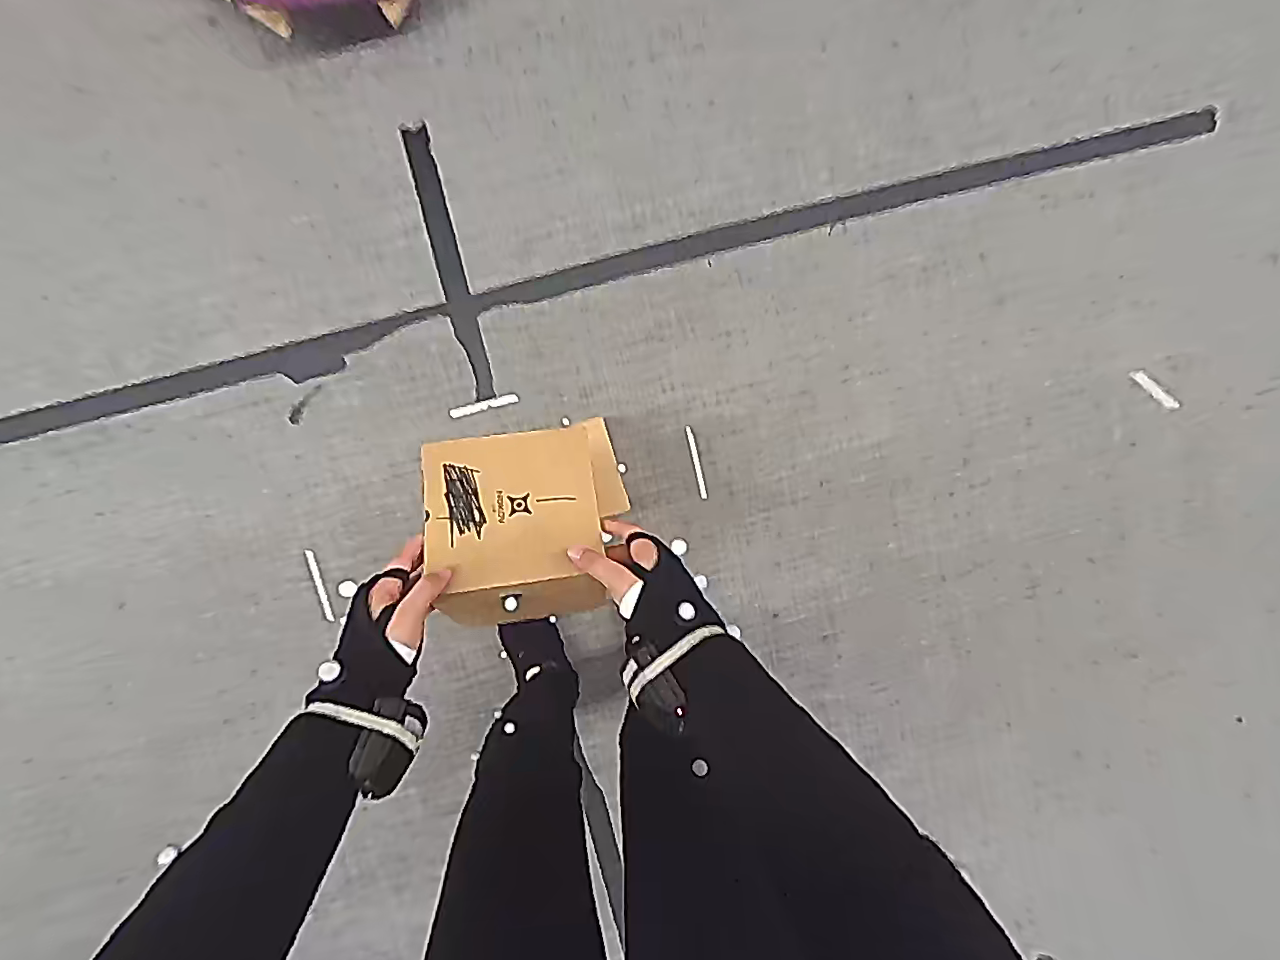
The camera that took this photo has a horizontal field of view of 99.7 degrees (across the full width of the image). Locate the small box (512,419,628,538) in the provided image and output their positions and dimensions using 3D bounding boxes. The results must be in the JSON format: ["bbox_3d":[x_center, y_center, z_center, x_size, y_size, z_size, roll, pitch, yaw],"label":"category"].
[{"bbox_3d":[-0.125,-0.011,1.019,0.168,0.176,0.179,-17,97,-2],"label":"small box"}]
